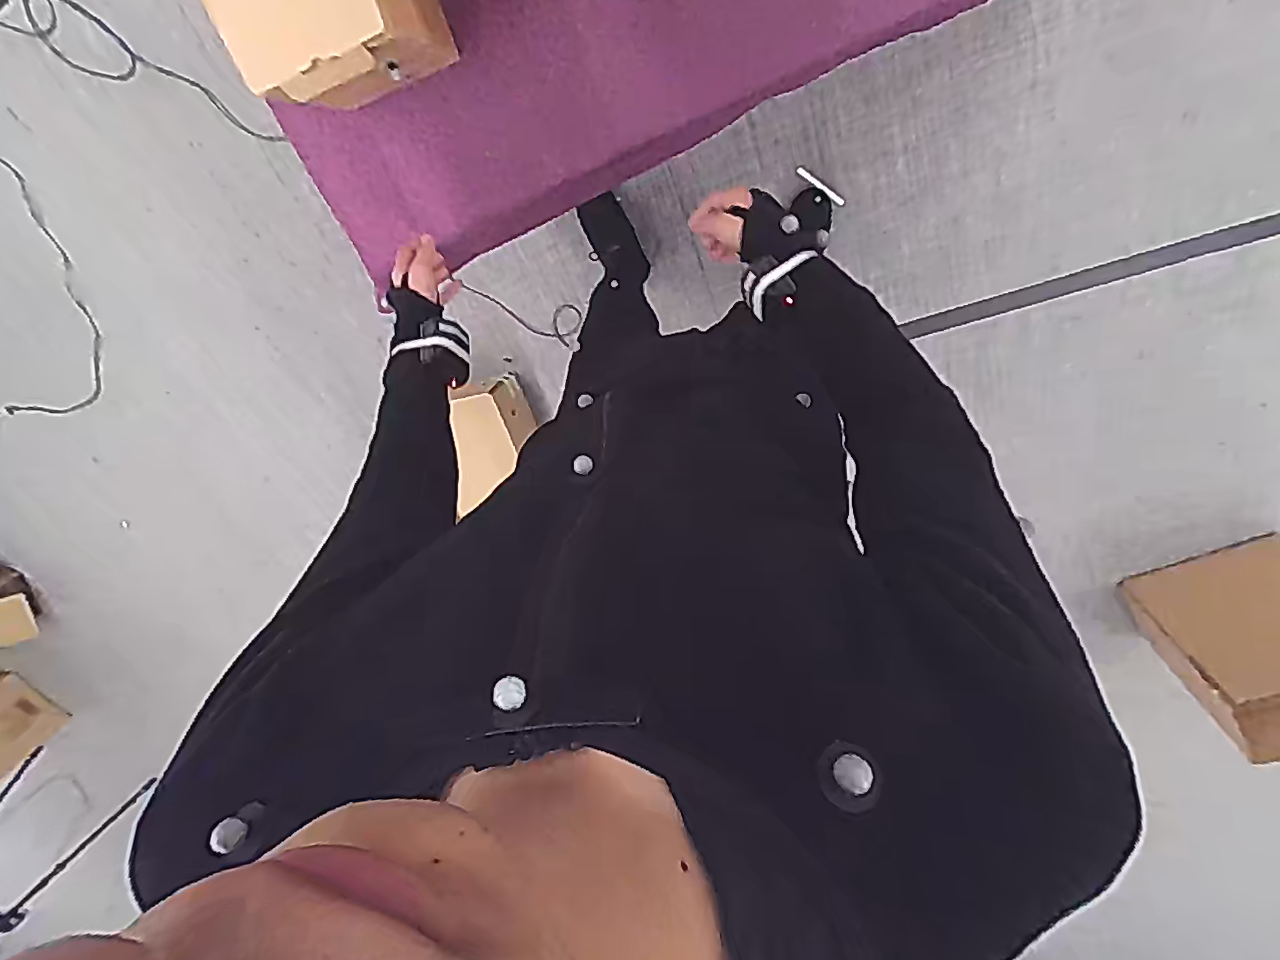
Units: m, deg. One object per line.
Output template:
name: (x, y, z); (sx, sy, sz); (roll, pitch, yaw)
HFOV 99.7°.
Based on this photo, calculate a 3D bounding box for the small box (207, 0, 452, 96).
small box: (-0.323, -0.518, 0.552); (0.168, 0.176, 0.179); (-11, 118, 14)
